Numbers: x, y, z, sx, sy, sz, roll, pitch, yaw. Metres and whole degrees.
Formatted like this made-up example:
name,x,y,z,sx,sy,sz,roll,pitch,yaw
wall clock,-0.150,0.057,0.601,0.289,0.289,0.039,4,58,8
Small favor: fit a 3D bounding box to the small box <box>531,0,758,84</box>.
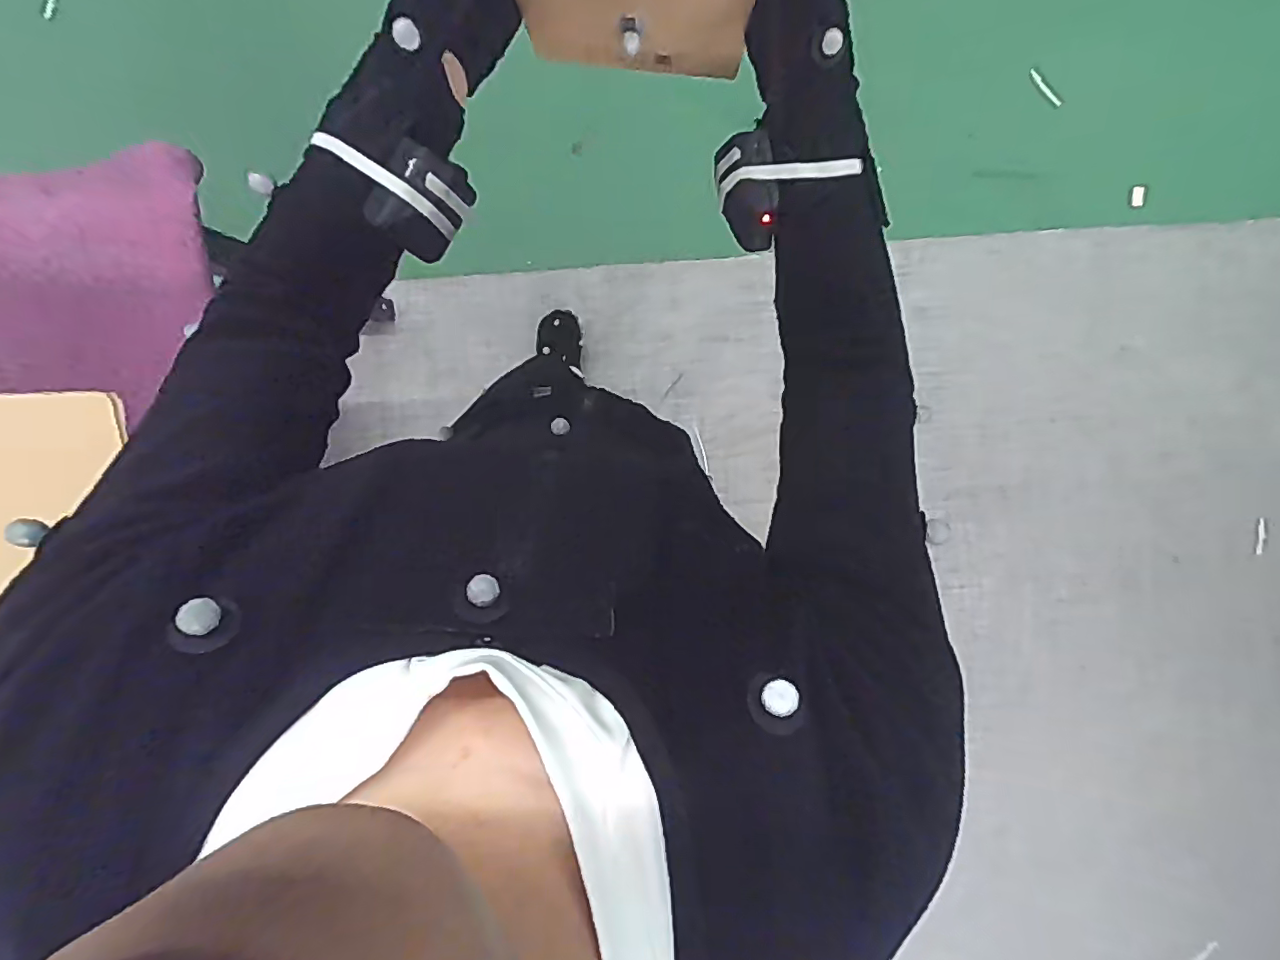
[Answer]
name,x,y,z,sx,sy,sz,roll,pitch,yaw
small box,0.008,-0.407,0.352,0.168,0.176,0.179,7,100,0
